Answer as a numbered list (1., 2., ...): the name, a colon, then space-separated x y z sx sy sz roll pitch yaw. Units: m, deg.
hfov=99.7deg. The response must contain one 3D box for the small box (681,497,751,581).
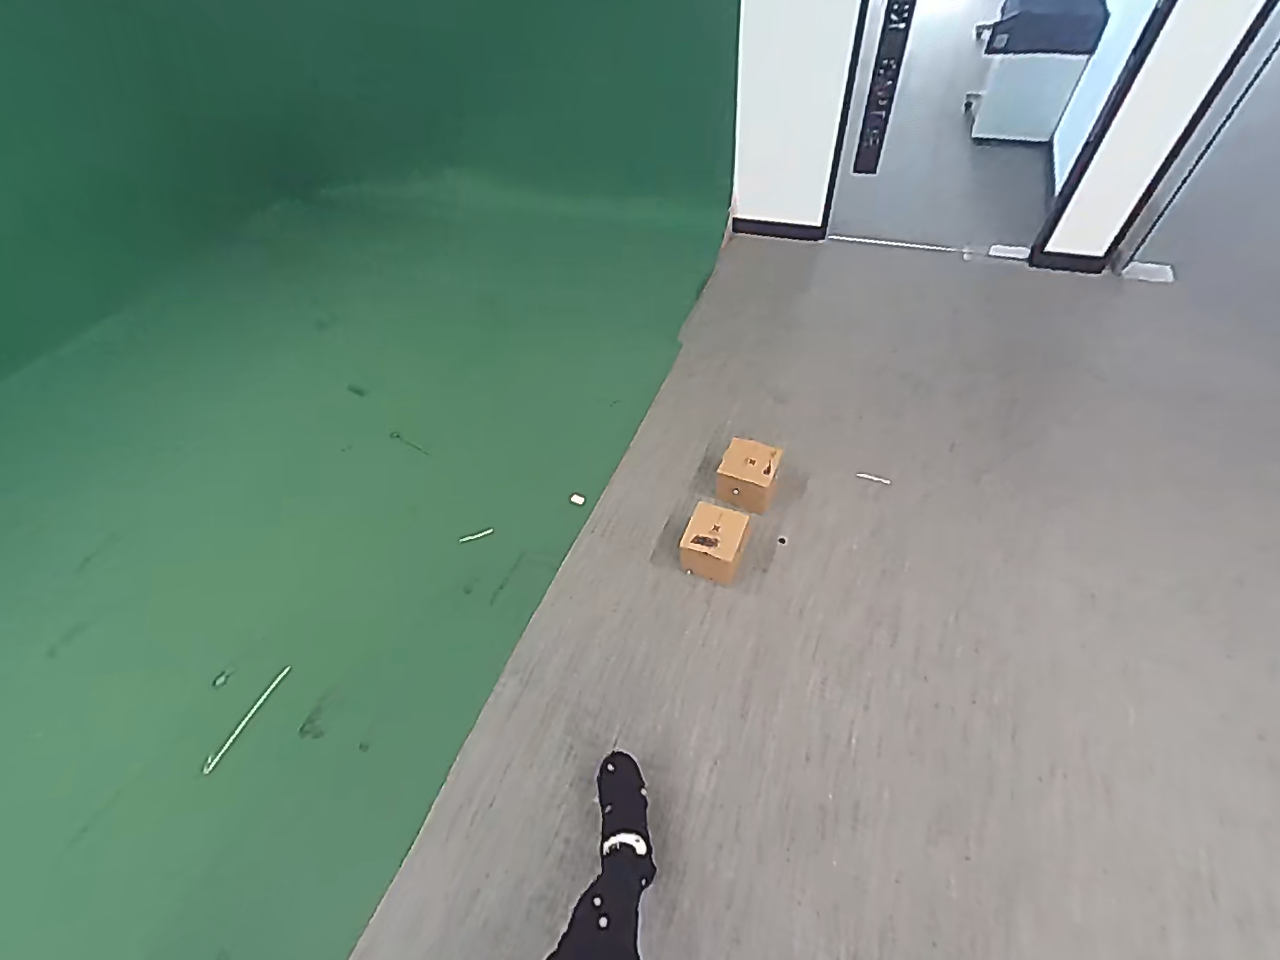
1. small box: 0.237 0.187 1.675 0.168 0.176 0.179 17 57 18

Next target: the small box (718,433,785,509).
1. small box: 0.372 -0.027 1.816 0.179 0.176 0.168 18 58 20
